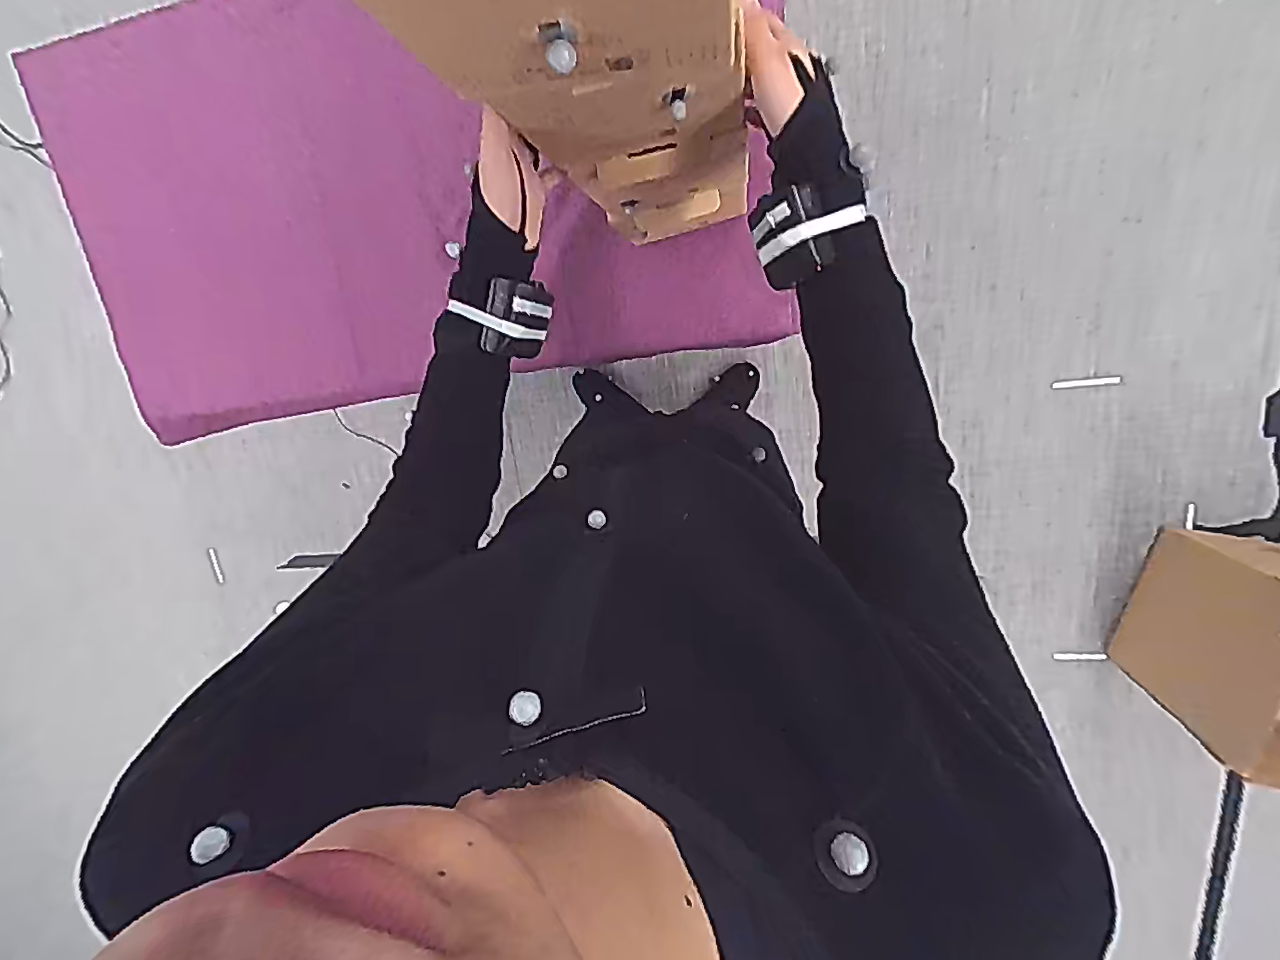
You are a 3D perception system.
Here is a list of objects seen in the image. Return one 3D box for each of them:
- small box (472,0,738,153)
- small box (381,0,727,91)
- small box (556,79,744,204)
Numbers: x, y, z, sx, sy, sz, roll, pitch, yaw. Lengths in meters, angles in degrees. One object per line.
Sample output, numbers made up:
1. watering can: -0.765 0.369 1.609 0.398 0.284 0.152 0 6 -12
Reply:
1. small box: -0.023 -0.350 0.370 0.168 0.176 0.179 -5 103 12
2. small box: -0.048 -0.297 0.215 0.168 0.176 0.179 1 104 10
3. small box: 0.009 -0.387 0.525 0.168 0.176 0.179 -7 102 12
